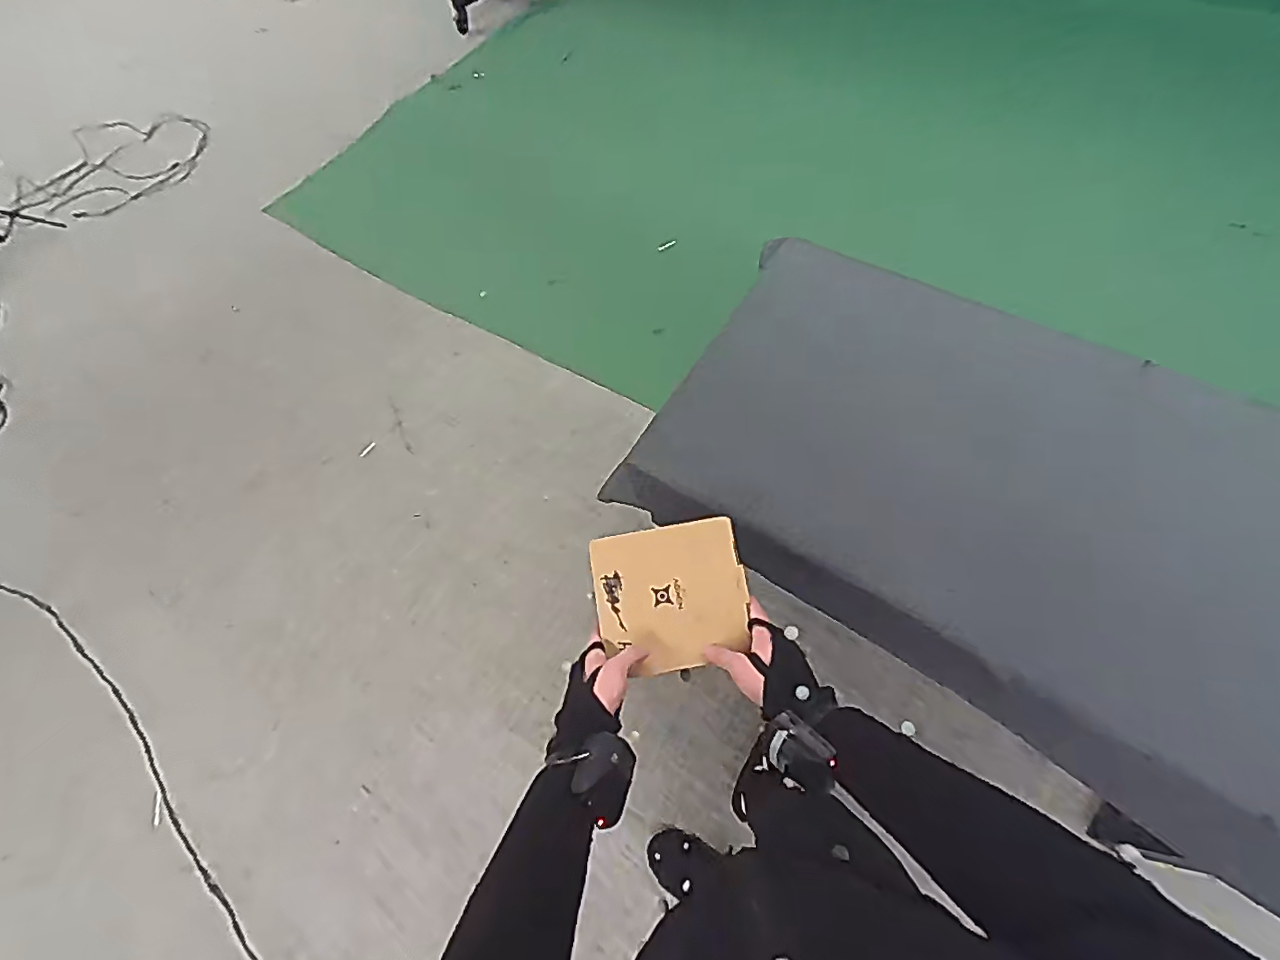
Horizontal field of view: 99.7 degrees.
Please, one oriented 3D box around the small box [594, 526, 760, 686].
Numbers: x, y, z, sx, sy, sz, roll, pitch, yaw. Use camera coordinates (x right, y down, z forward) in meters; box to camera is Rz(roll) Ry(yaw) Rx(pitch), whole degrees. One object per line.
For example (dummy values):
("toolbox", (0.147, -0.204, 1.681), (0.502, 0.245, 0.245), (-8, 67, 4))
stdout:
("small box", (0.043, 0.167, 0.705), (0.179, 0.176, 0.168), (-9, 71, 1))
